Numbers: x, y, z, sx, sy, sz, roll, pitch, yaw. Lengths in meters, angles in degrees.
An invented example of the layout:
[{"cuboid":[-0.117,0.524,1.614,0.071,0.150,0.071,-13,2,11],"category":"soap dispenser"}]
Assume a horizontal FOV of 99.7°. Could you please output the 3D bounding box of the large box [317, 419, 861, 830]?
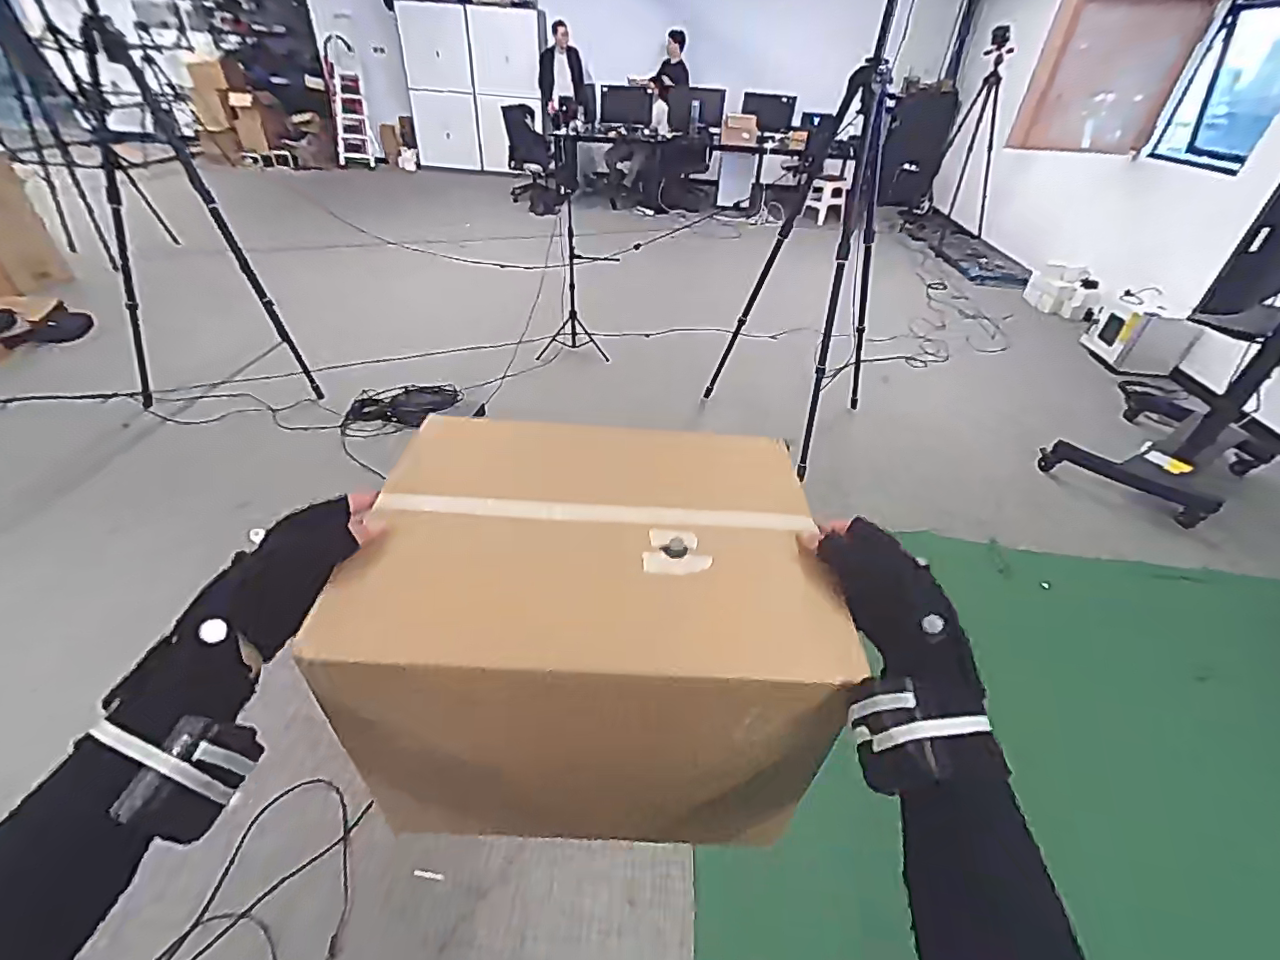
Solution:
[{"cuboid":[-0.046,0.153,0.594,0.408,0.320,0.320,4,38,-3],"category":"large box"}]
